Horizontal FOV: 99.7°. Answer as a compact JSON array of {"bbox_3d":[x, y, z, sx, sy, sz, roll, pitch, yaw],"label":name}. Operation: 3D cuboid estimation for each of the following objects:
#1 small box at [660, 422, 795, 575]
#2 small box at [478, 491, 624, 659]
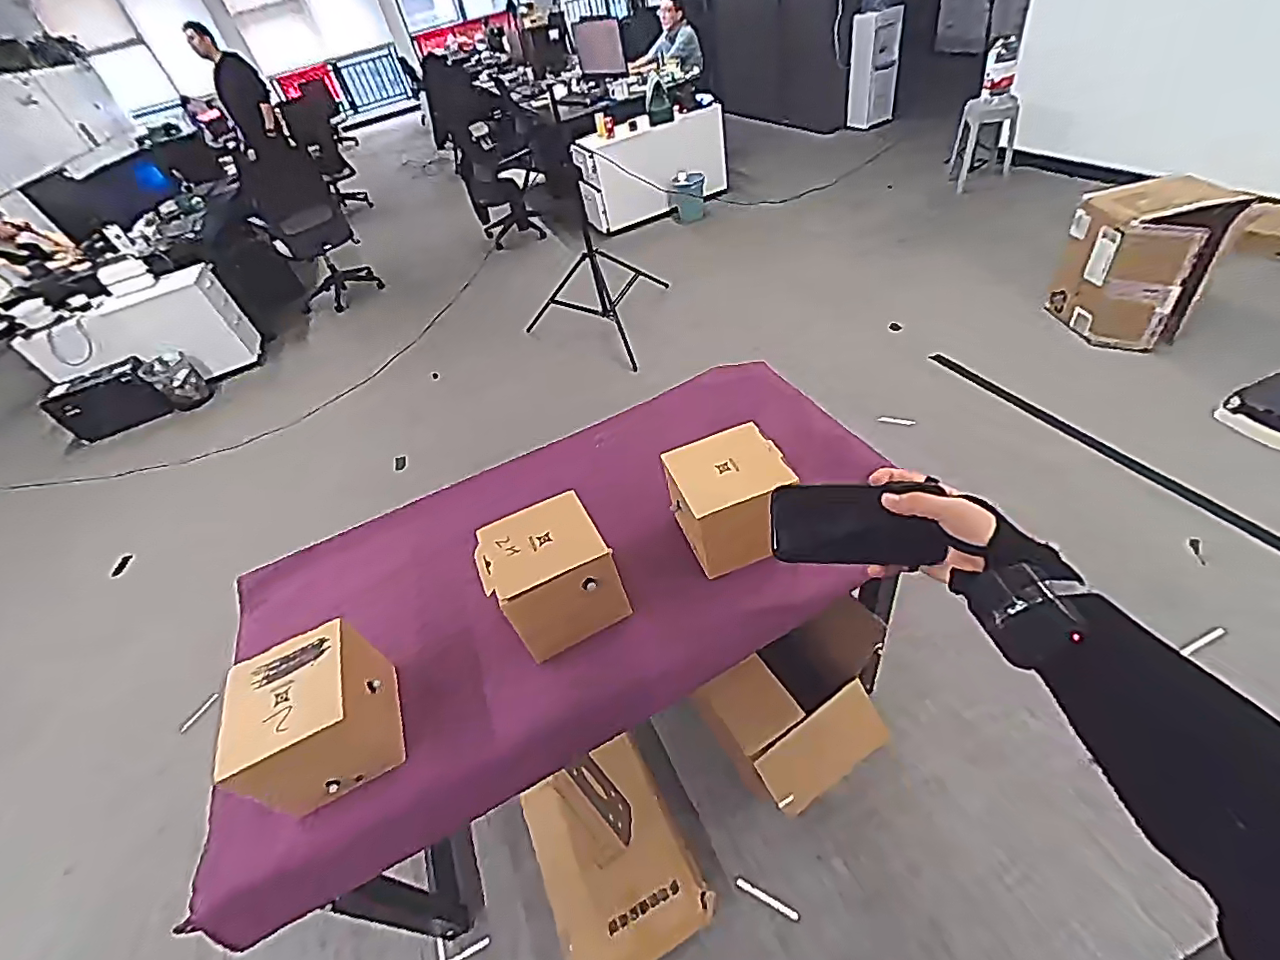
[{"bbox_3d":[0.153,0.035,0.931,0.179,0.176,0.168,-21,44,-6],"label":"small box"},{"bbox_3d":[-0.138,0.156,0.888,0.179,0.176,0.168,-26,42,-11],"label":"small box"}]
